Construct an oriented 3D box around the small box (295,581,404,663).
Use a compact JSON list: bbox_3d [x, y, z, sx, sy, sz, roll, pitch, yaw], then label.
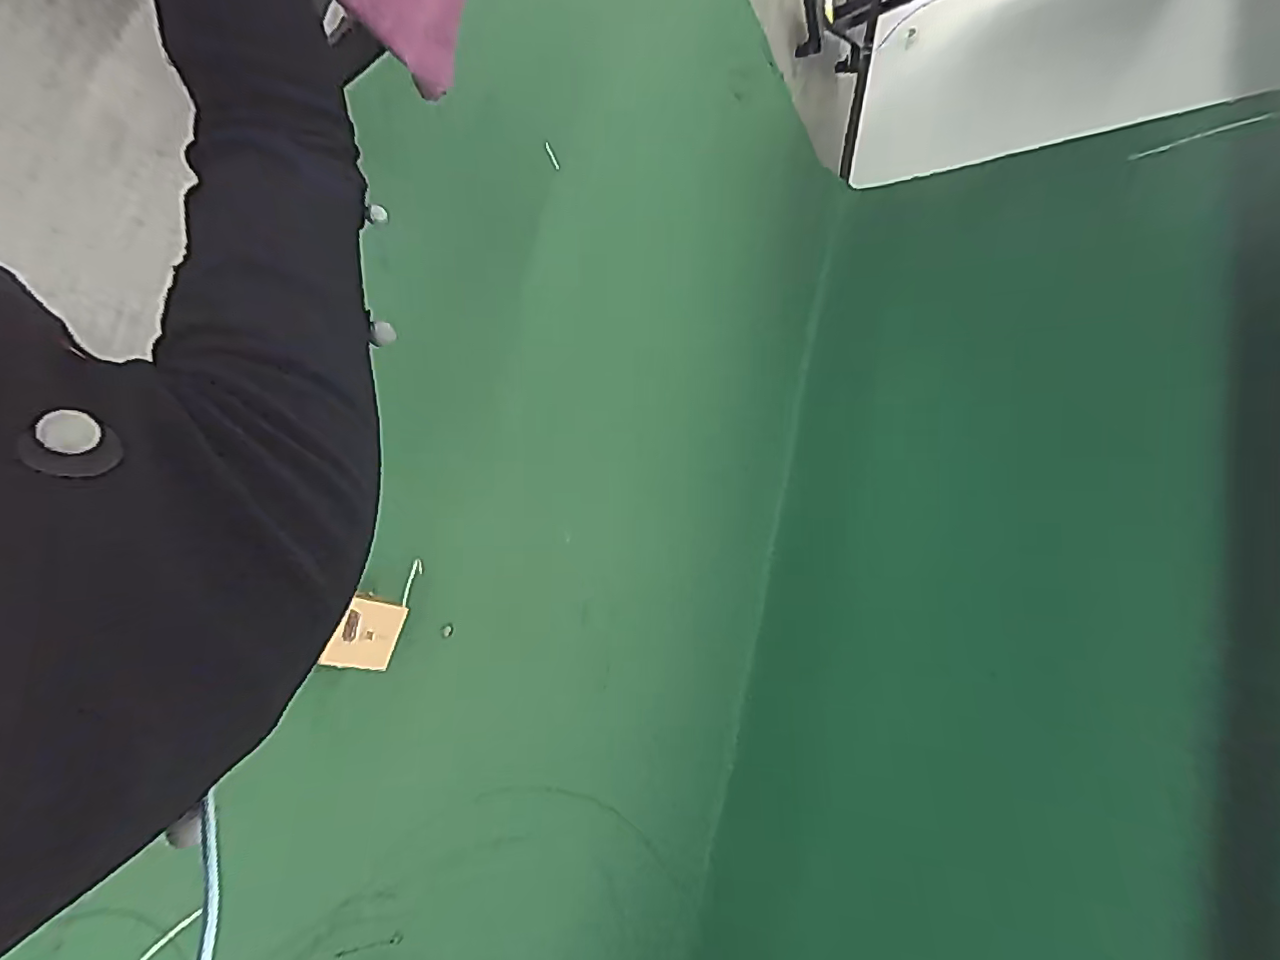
[{"bbox_3d":[-0.756,0.366,1.404,0.179,0.176,0.168,27,73,-49],"label":"small box"}]
